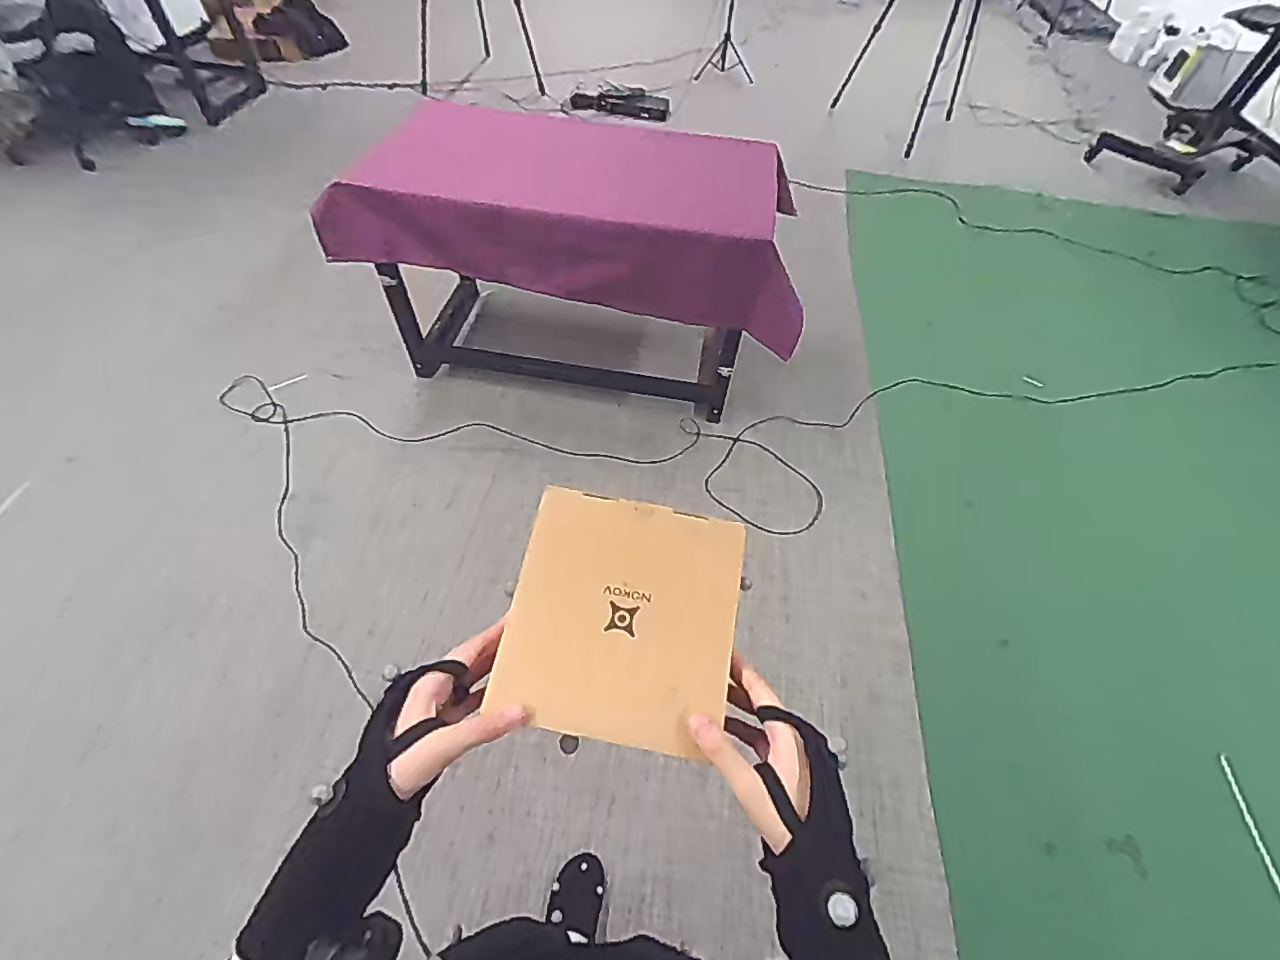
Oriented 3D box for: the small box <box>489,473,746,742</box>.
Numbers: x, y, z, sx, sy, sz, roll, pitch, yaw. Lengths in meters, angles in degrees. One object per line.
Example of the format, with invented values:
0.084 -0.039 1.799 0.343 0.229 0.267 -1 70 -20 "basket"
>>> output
-0.014 0.119 0.476 0.168 0.176 0.179 11 65 1 "small box"
